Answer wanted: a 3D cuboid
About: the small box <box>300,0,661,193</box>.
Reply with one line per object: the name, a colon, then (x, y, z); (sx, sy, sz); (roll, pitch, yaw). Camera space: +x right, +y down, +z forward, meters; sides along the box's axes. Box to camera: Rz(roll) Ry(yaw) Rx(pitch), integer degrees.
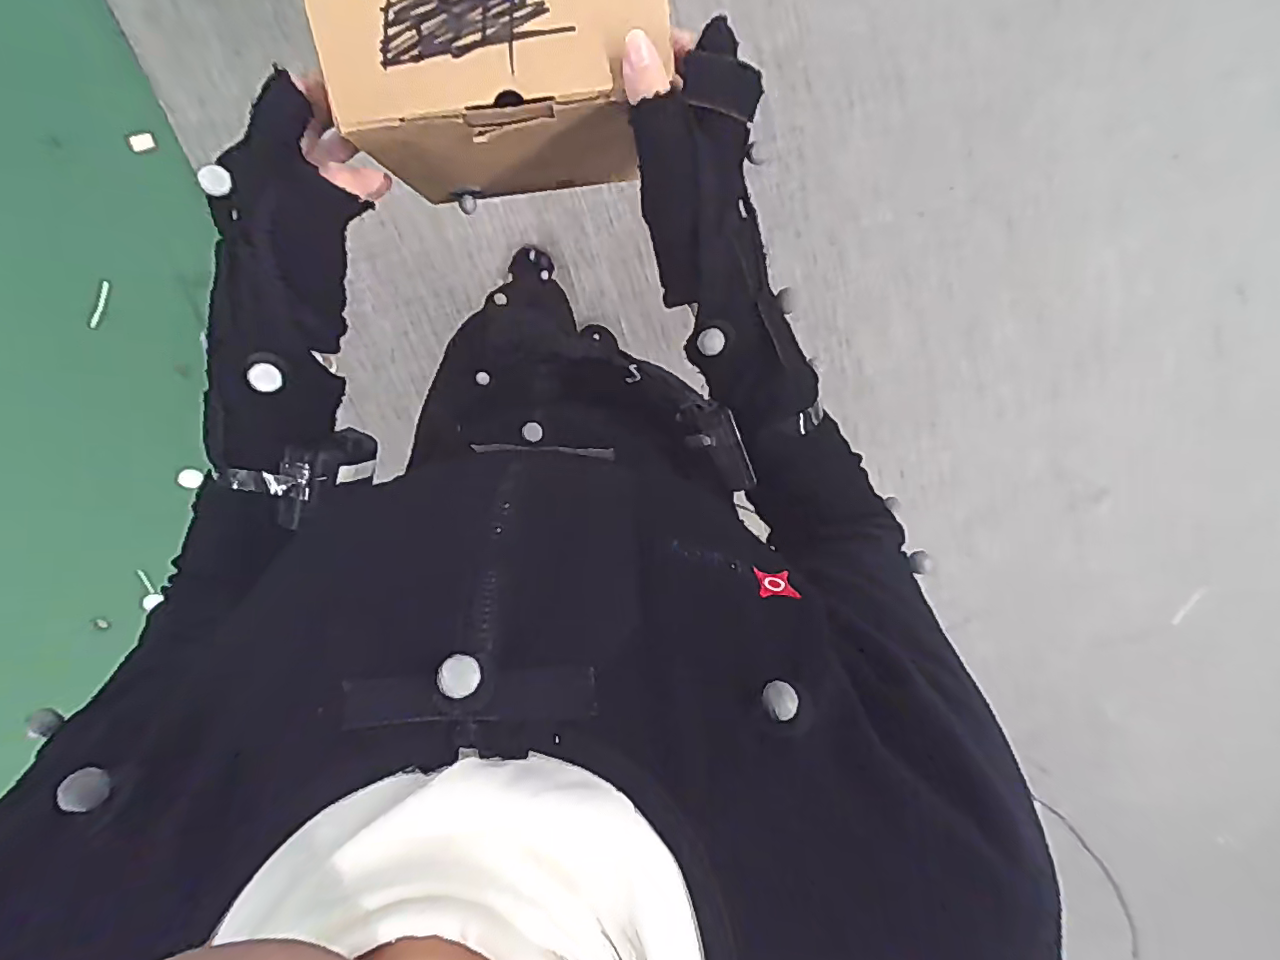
small box: (-0.083, -0.284, 0.316); (0.168, 0.176, 0.179); (-9, 105, -2)
